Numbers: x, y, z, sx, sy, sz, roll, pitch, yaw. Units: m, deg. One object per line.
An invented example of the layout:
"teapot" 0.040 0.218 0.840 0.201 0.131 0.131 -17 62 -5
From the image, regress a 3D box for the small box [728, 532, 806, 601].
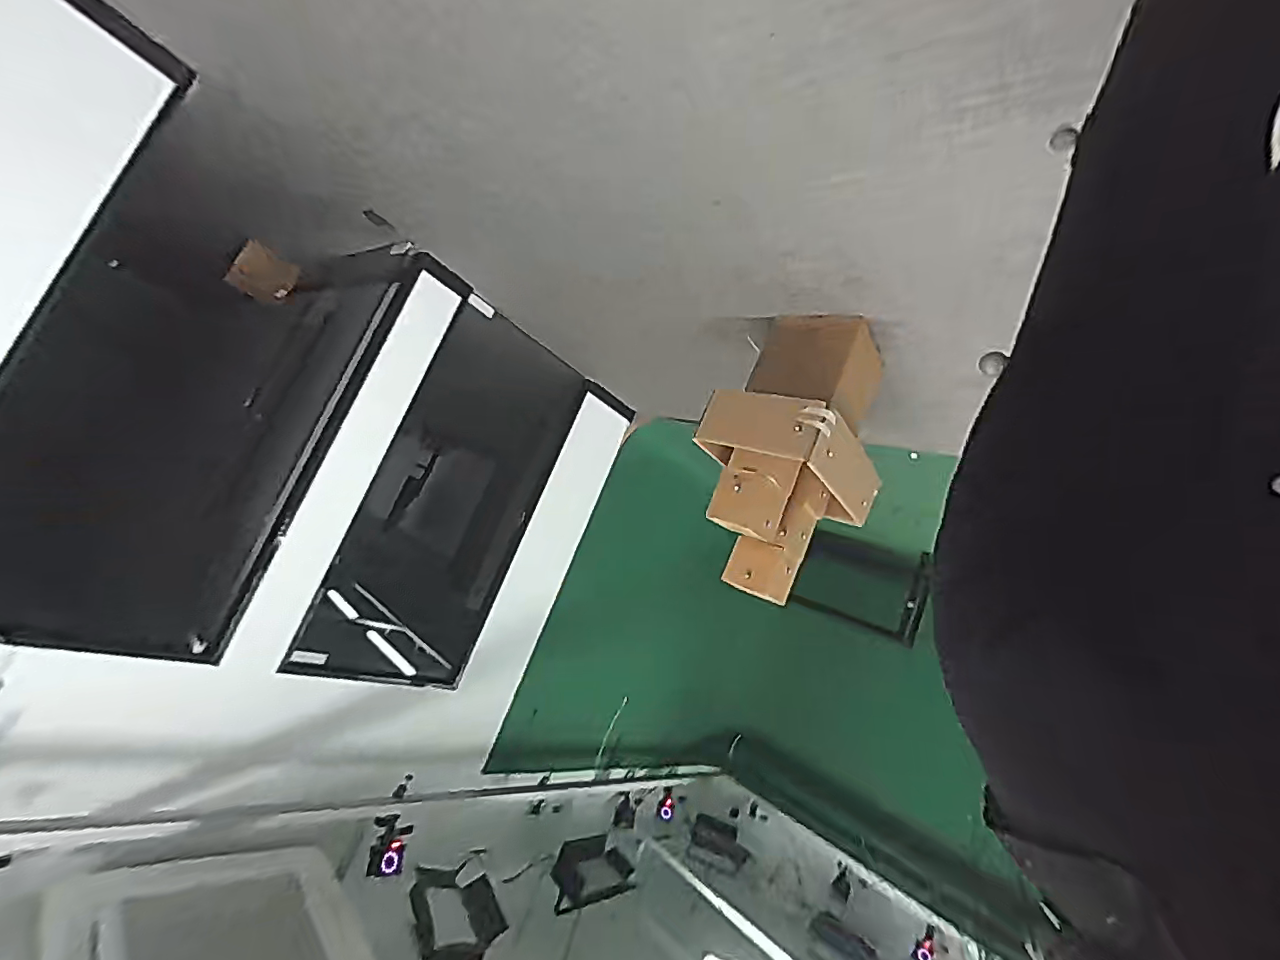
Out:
"small box" 0.437 0.290 1.850 0.179 0.176 0.168 15 168 42
